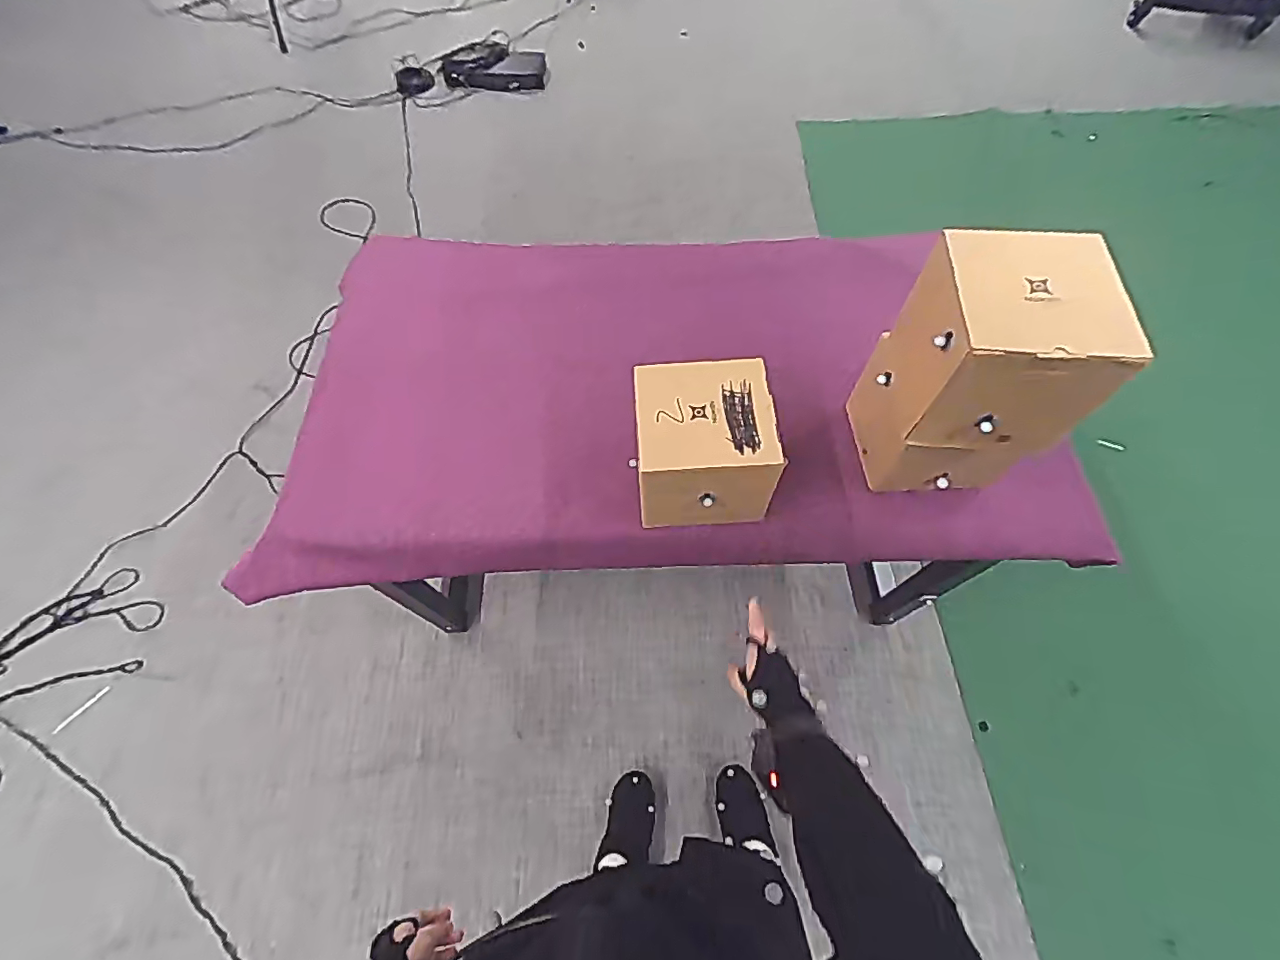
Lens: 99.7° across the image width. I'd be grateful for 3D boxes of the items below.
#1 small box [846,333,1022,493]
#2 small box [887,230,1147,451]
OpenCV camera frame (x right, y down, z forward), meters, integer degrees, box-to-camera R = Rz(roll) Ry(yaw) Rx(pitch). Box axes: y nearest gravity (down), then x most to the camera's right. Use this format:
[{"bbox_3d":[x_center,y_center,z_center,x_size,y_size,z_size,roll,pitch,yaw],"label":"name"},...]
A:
[{"bbox_3d":[0.419,-0.092,0.768,0.179,0.176,0.168,-3,60,0],"label":"small box"},{"bbox_3d":[0.400,-0.154,0.616,0.168,0.176,0.179,4,62,5],"label":"small box"}]
